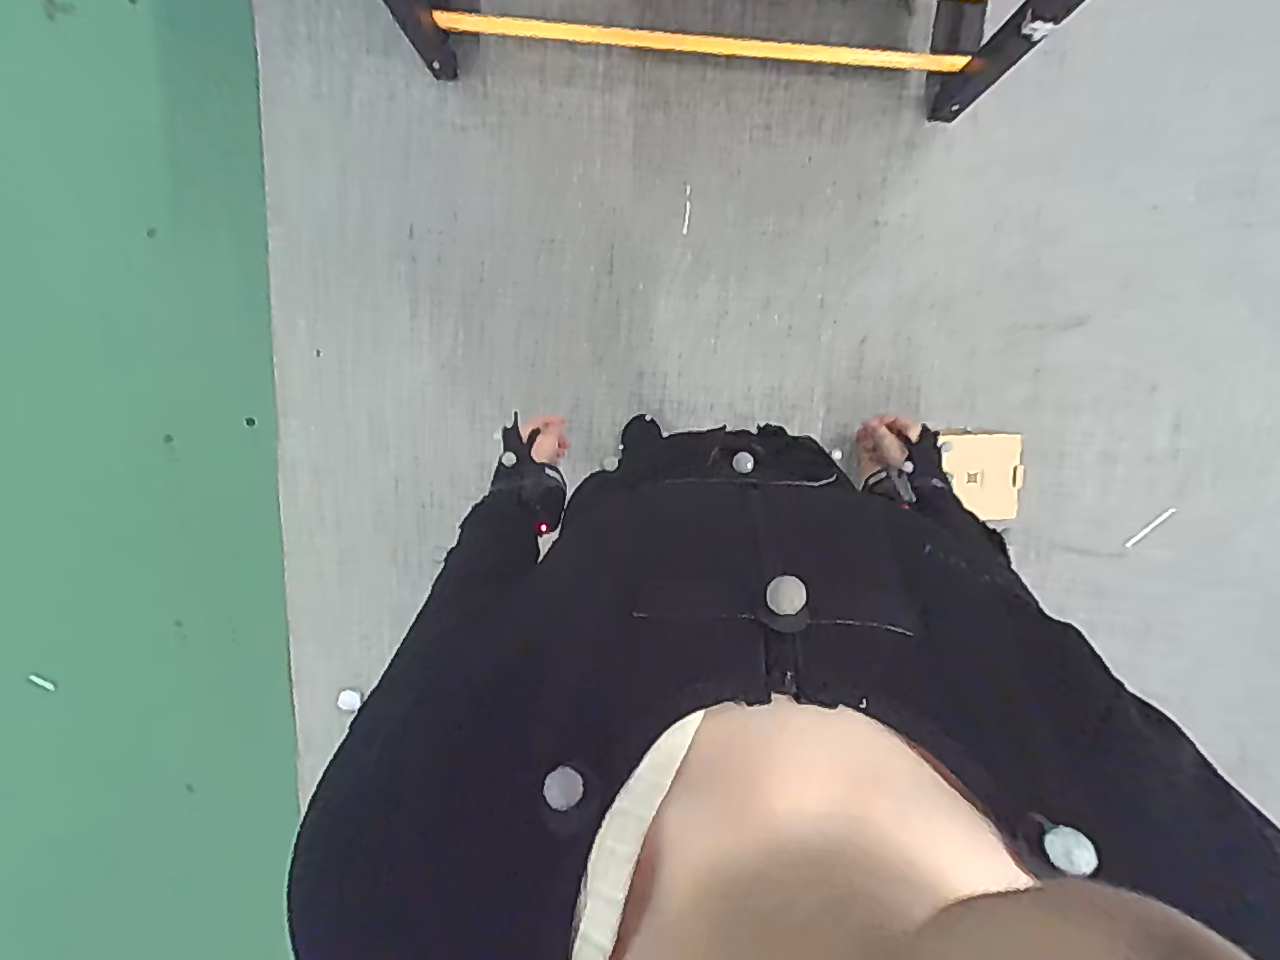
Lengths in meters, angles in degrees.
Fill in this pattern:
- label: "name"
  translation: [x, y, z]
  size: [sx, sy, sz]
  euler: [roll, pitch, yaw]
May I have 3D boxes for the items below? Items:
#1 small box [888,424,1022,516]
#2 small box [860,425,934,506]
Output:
- label: "small box"
  translation: [0.632, -0.026, 1.102]
  size: [0.179, 0.176, 0.168]
  euler: [-2, 98, 2]
- label: "small box"
  translation: [0.628, -0.041, 1.265]
  size: [0.168, 0.176, 0.179]
  euler: [-2, 98, 1]
